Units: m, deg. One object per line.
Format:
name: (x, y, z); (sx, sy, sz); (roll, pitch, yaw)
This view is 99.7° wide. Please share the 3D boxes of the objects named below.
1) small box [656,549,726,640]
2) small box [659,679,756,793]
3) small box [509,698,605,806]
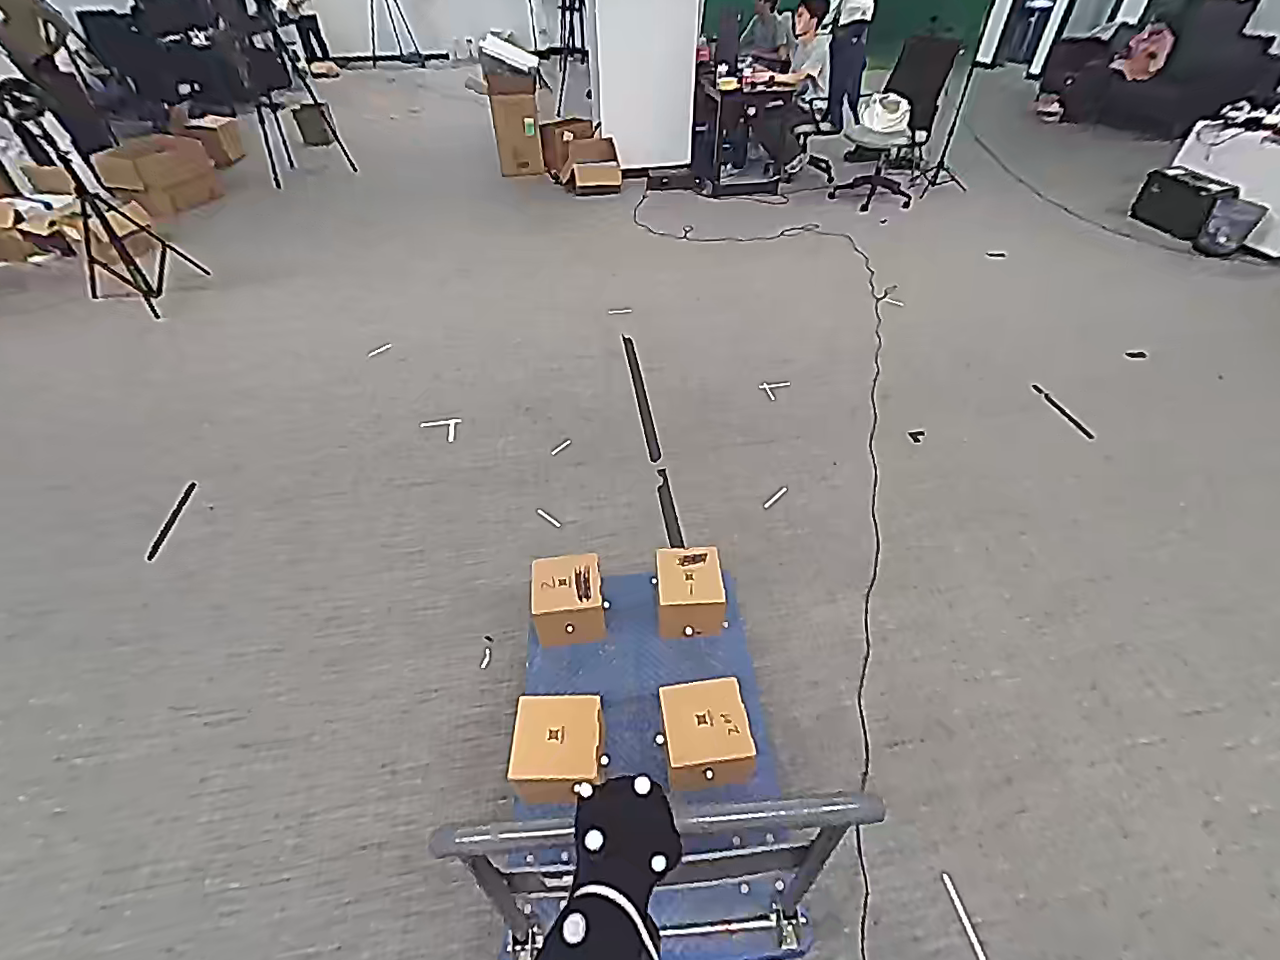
small box: (0.128, 0.304, 1.440); (0.168, 0.176, 0.179); (-3, 45, -1)
small box: (0.139, 0.560, 1.177); (0.179, 0.176, 0.168); (-6, 44, -4)
small box: (-0.169, 0.585, 1.161); (0.179, 0.176, 0.168); (0, 44, -1)
